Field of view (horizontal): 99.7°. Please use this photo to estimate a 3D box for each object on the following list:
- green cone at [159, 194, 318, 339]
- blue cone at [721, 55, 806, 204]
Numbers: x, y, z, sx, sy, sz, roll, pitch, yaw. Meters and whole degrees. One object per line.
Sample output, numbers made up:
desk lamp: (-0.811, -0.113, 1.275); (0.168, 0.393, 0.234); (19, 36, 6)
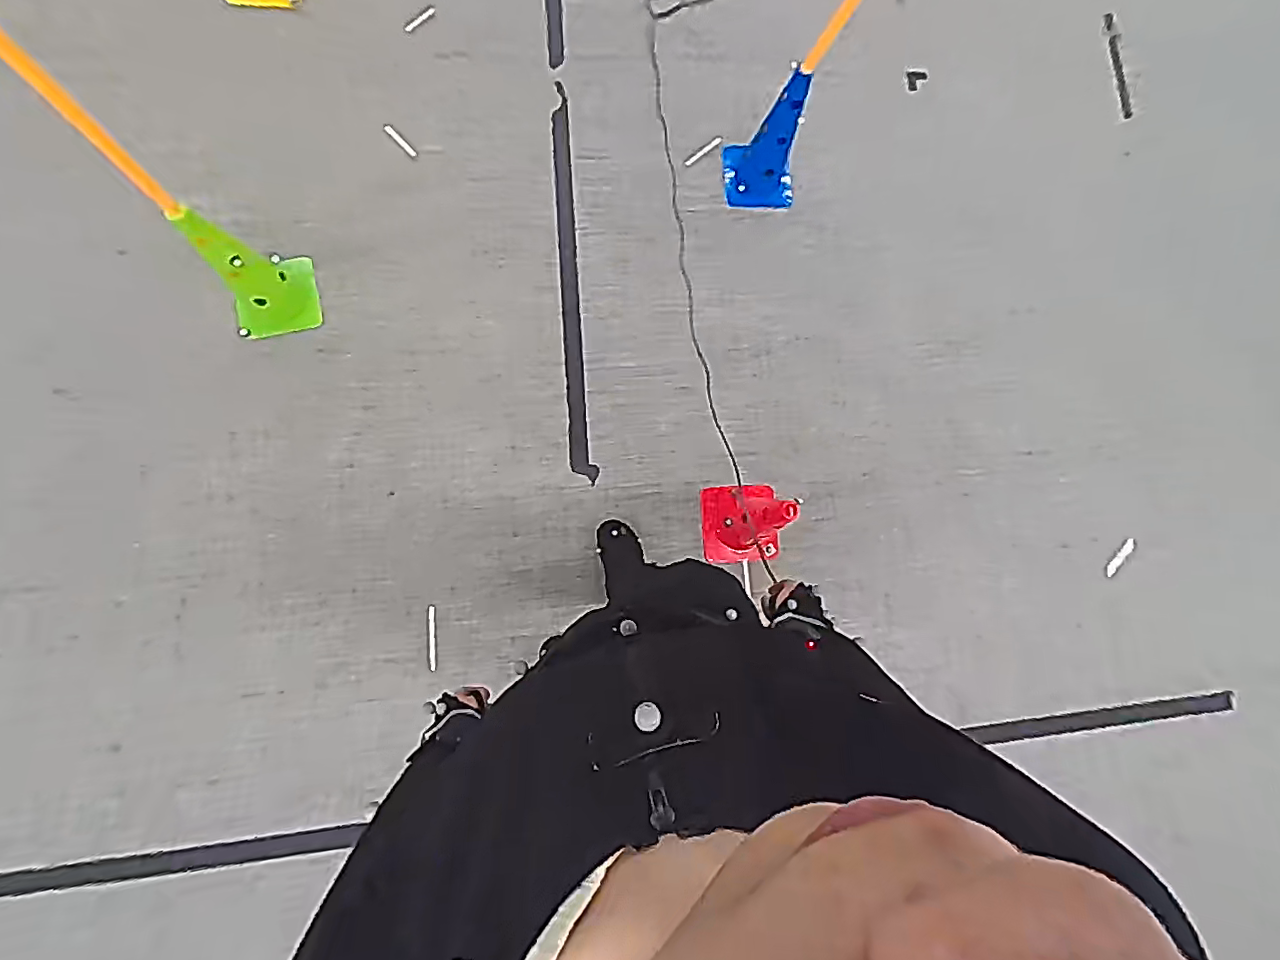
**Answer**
green cone: (-0.926, -0.500, 1.225); (0.200, 0.368, 0.202); (-15, 81, -8)
blue cone: (0.353, -0.929, 1.432); (0.193, 0.380, 0.192); (-1, 80, -6)
